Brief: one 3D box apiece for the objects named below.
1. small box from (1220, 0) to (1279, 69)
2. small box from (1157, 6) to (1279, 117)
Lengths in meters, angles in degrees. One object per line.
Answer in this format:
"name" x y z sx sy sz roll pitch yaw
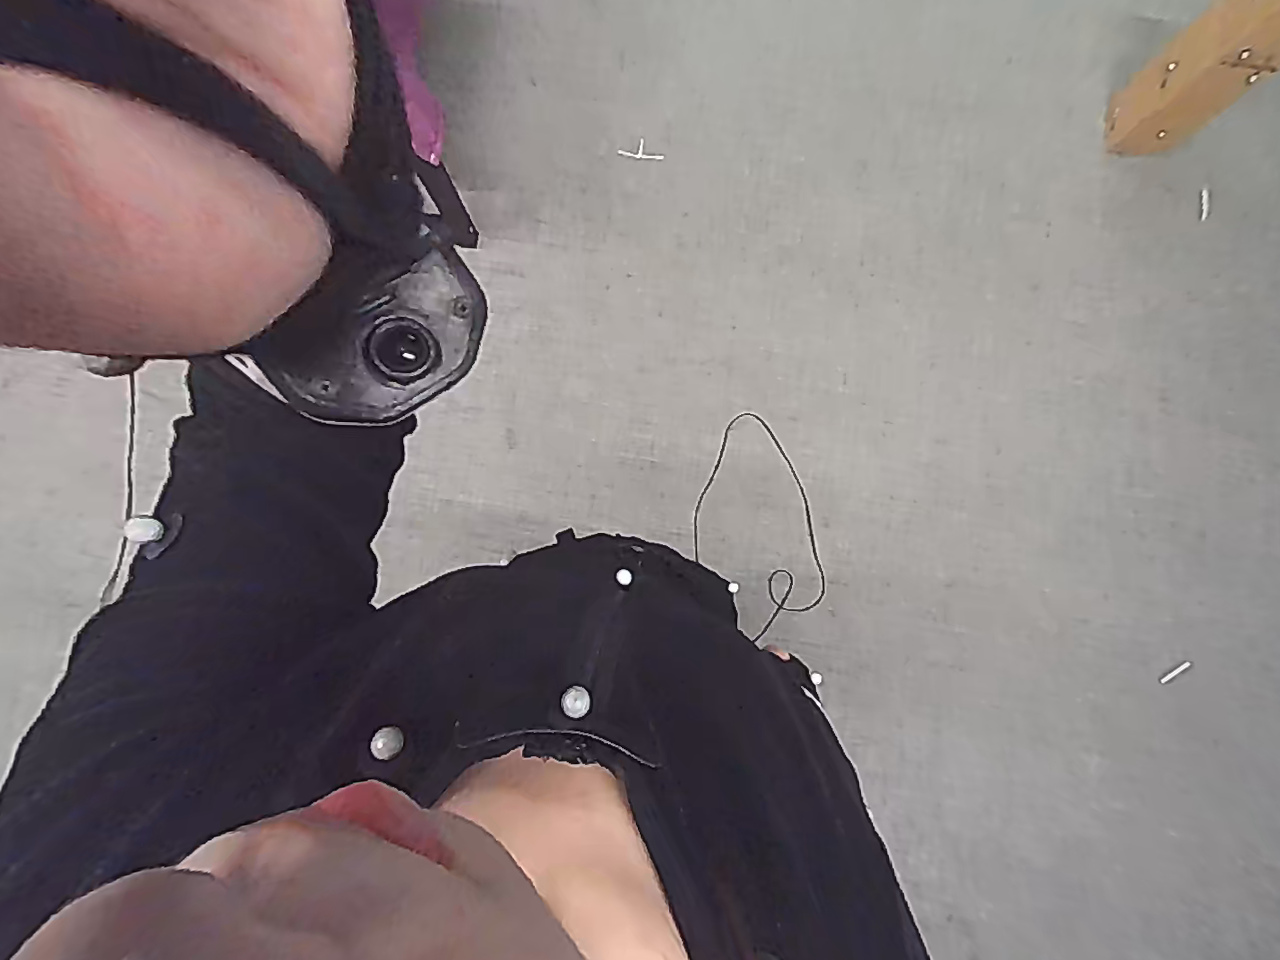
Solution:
"small box" 1.543 -1.125 1.283 0.168 0.176 0.179 7 82 1
"small box" 1.550 -1.110 1.447 0.179 0.176 0.168 5 82 2
